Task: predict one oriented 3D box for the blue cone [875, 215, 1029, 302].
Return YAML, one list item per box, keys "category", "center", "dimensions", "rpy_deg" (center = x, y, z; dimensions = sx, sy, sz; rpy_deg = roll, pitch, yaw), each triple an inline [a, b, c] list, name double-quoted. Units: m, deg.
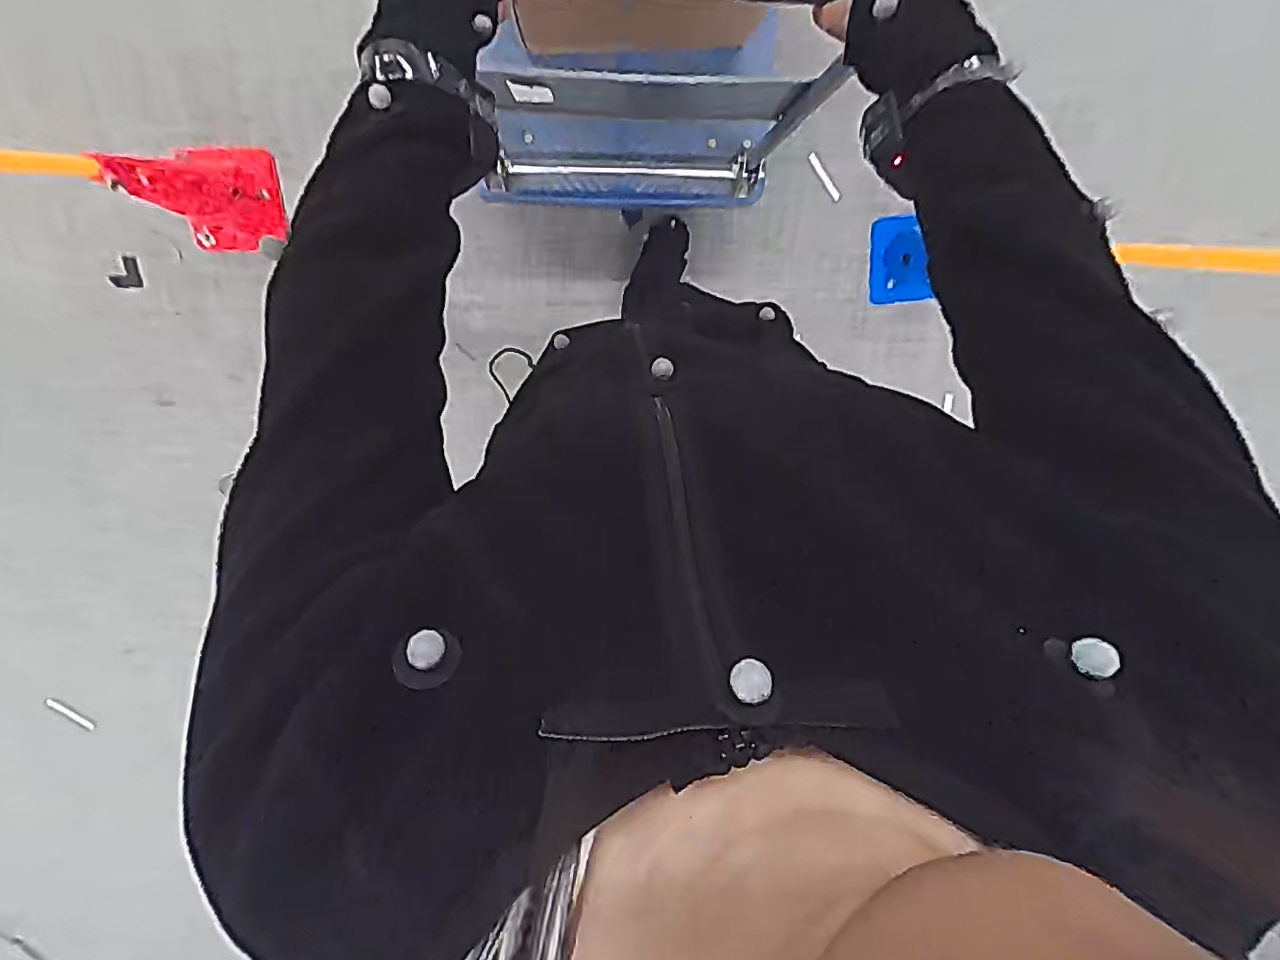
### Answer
- category: "blue cone"
  center: [0.679, -0.488, 1.164]
  dimensions: [0.193, 0.380, 0.192]
  rpy_deg: [-6, 108, -4]
